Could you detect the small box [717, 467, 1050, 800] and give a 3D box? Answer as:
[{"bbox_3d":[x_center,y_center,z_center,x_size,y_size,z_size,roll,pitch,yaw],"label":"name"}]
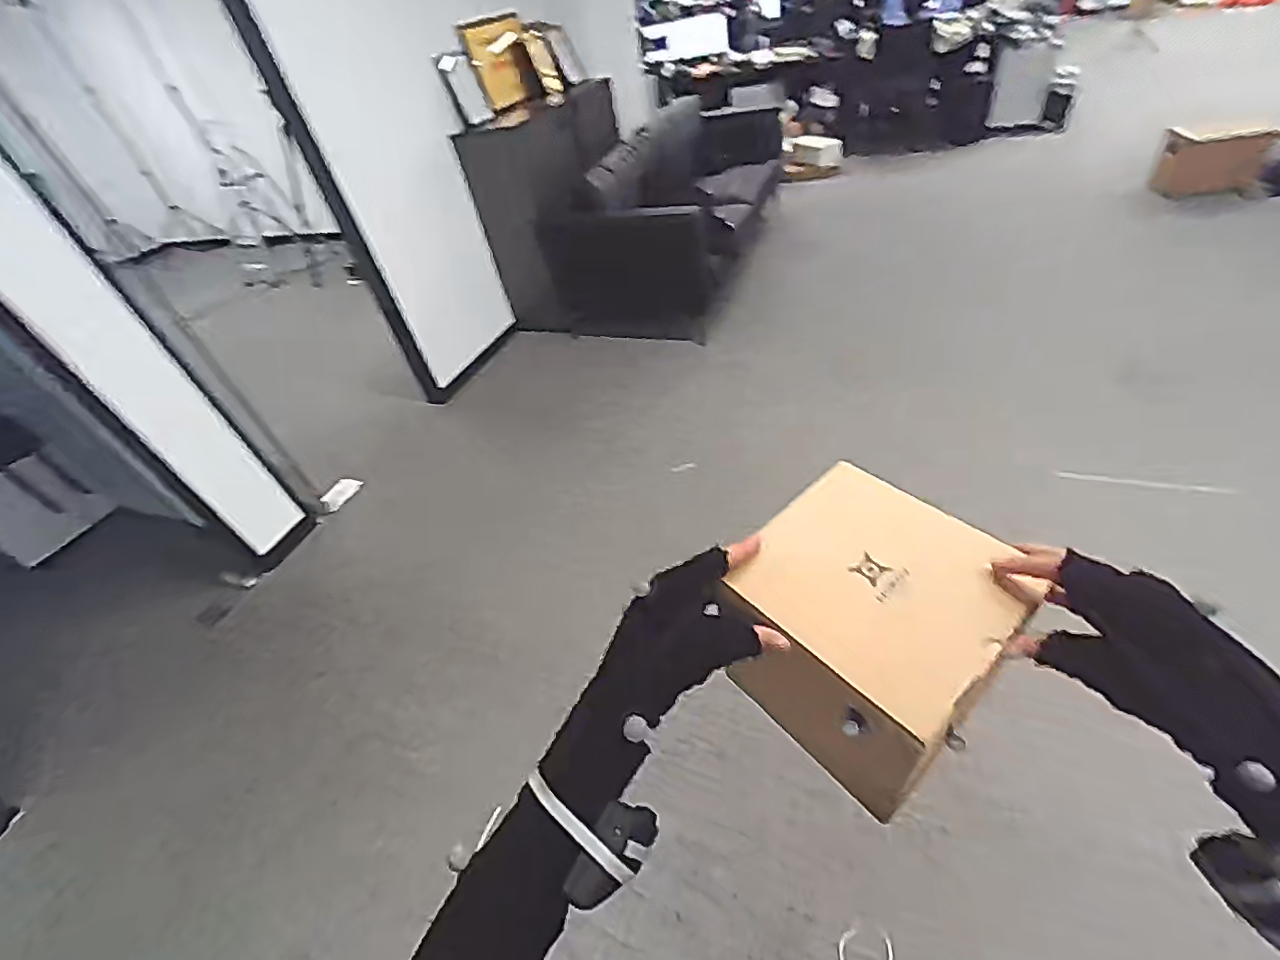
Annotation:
[{"bbox_3d":[0.185,0.126,0.457,0.168,0.176,0.179,-36,49,-21],"label":"small box"}]
